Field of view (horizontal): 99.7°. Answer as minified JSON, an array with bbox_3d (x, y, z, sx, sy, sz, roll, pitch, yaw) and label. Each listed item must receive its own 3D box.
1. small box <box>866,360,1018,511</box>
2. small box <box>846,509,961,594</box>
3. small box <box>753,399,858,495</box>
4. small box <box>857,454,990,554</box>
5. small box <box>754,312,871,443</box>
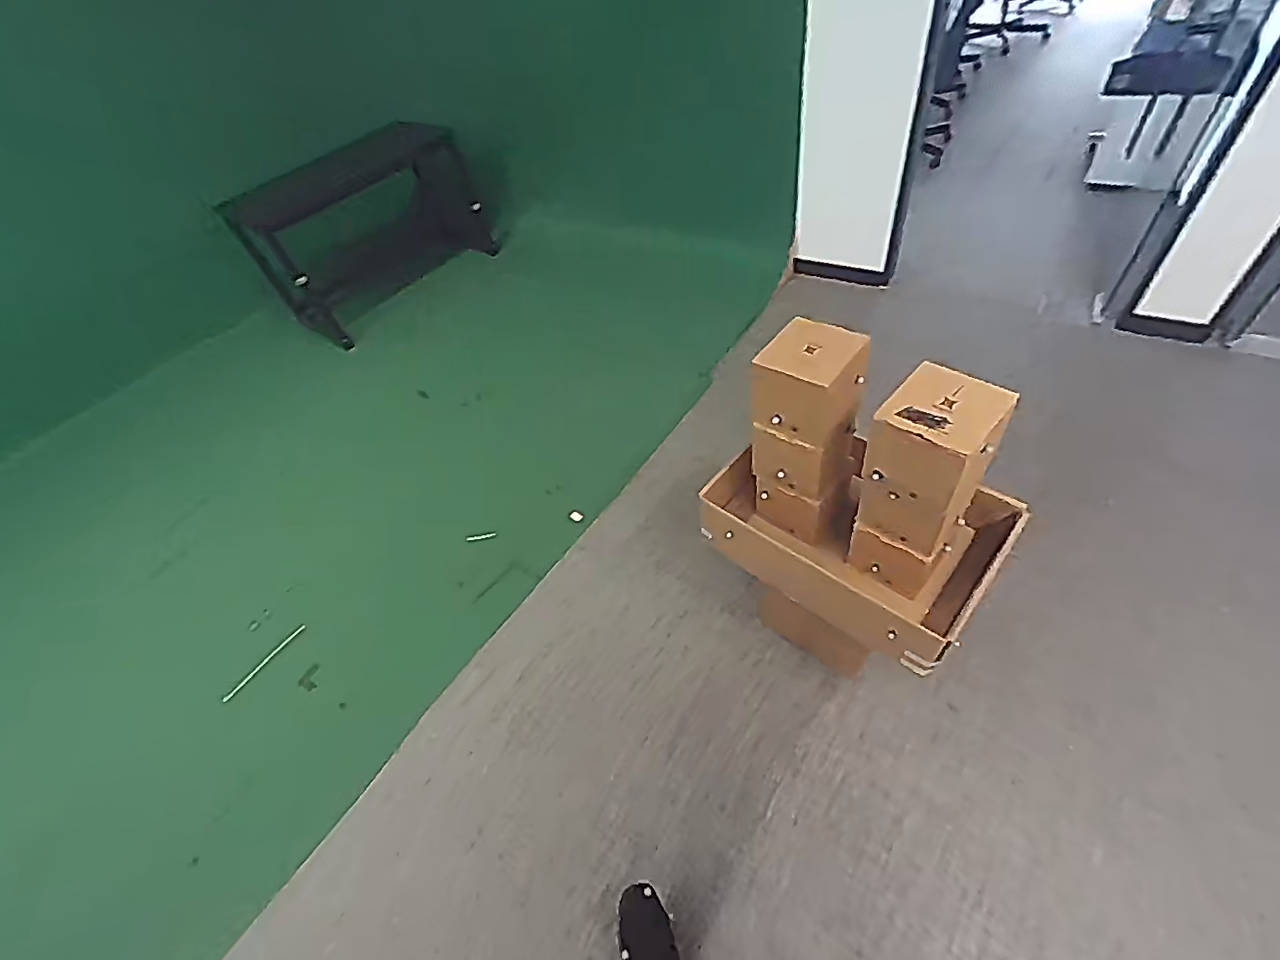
[{"bbox_3d":[0.528,-0.076,0.971,0.179,0.176,0.168,-42,56,-20],"label":"small box"},{"bbox_3d":[0.588,0.122,1.228,0.168,0.176,0.179,31,64,31],"label":"small box"},{"bbox_3d":[0.368,-0.100,1.233,0.168,0.176,0.179,28,61,29],"label":"small box"},{"bbox_3d":[0.567,0.014,1.106,0.168,0.176,0.179,33,64,32],"label":"small box"},{"bbox_3d":[0.346,-0.210,1.114,0.168,0.176,0.179,29,62,30],"label":"small box"}]
